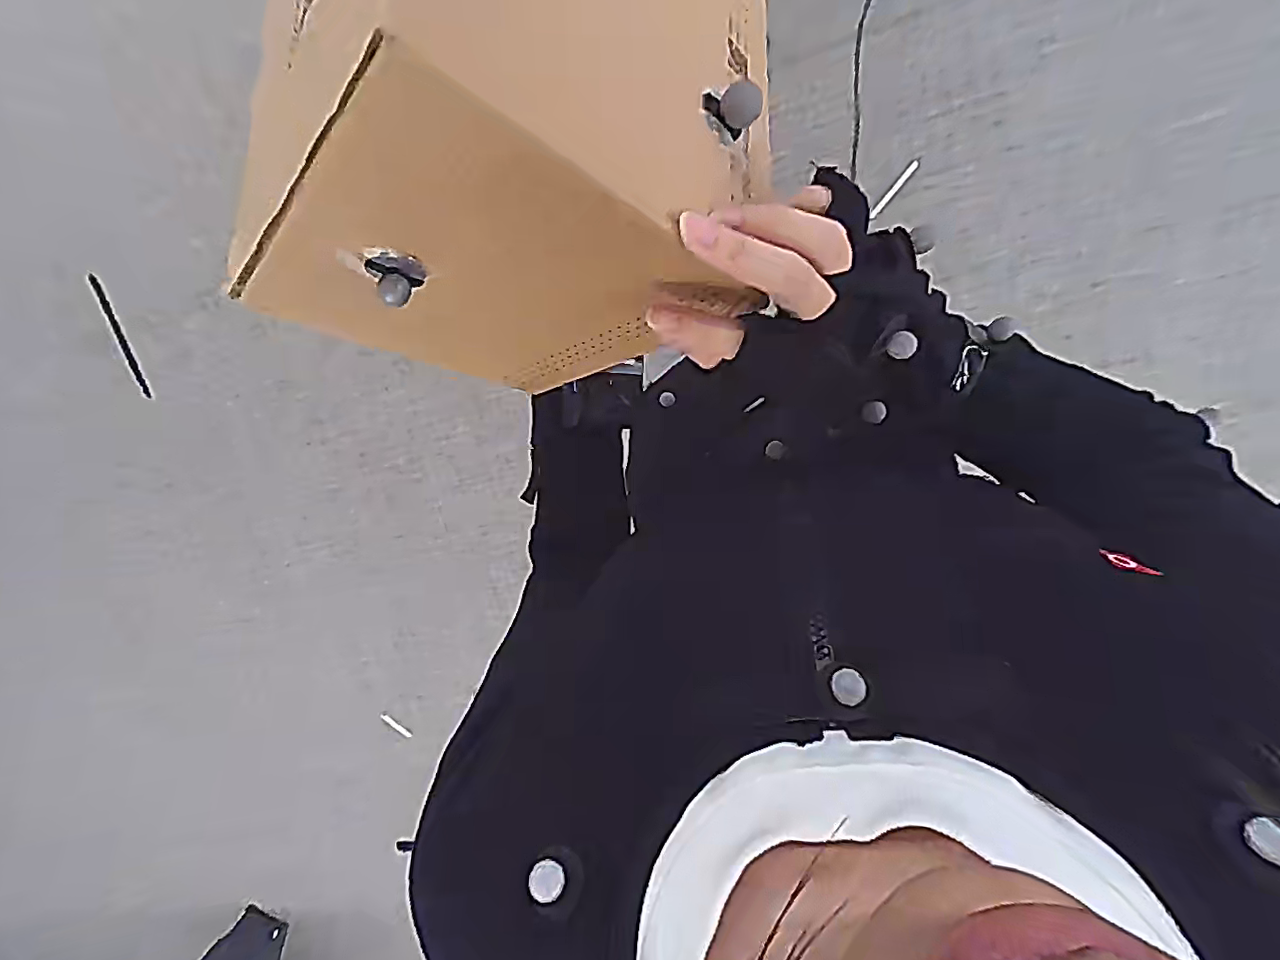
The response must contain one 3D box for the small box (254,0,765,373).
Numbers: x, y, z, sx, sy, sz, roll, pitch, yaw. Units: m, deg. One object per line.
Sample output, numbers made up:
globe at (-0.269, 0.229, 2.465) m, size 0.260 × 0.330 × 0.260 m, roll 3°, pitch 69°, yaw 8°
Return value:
small box at (-0.059, -0.166, 0.263) m, size 0.179 × 0.176 × 0.168 m, roll -10°, pitch 76°, yaw 43°
